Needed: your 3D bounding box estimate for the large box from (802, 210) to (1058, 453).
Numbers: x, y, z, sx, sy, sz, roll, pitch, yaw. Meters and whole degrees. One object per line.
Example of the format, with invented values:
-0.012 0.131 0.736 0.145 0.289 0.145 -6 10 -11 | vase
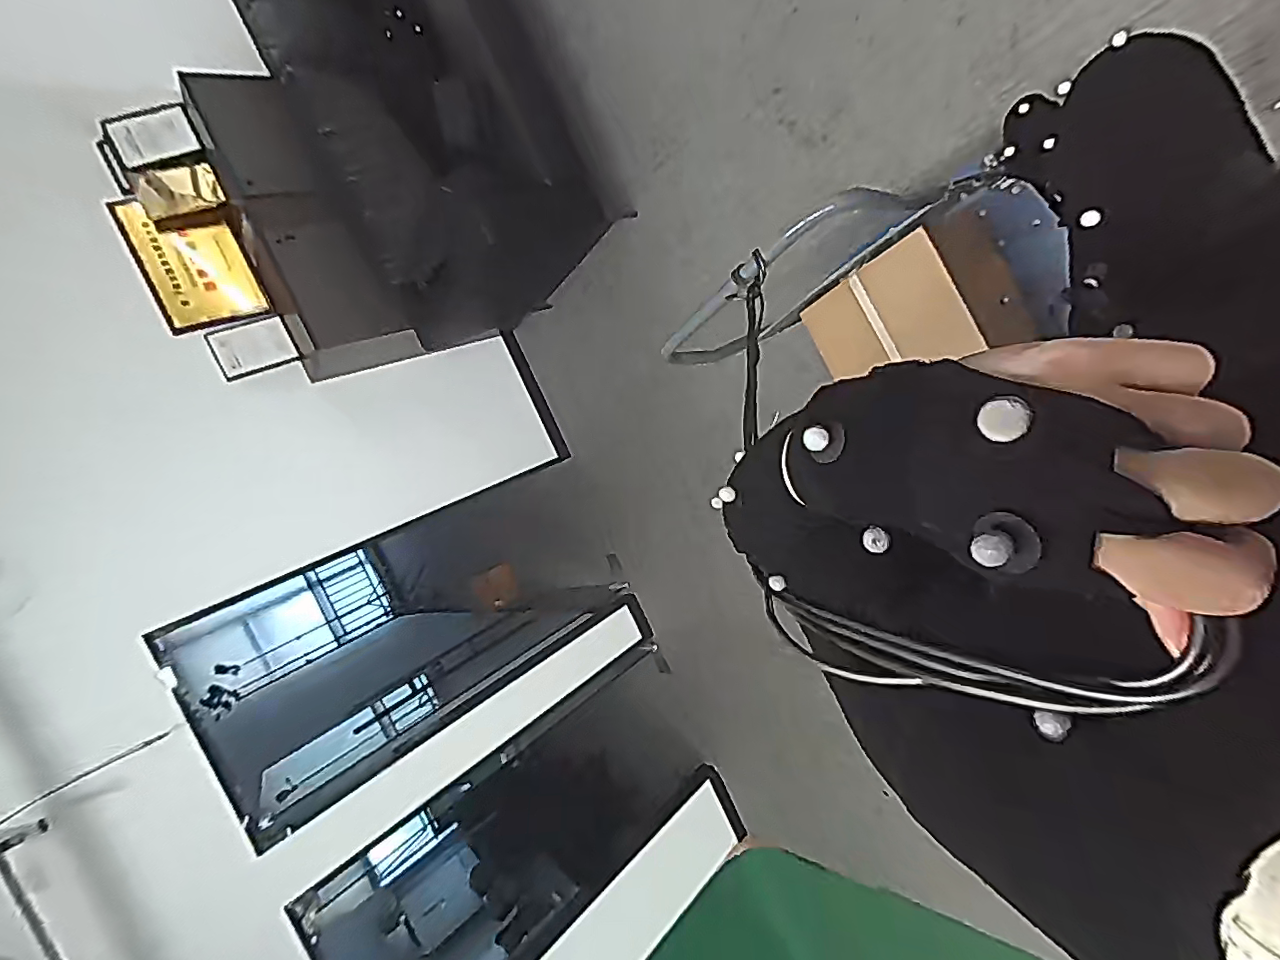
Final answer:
0.654 -0.336 1.231 0.320 0.320 0.408 -29 89 53 | large box
